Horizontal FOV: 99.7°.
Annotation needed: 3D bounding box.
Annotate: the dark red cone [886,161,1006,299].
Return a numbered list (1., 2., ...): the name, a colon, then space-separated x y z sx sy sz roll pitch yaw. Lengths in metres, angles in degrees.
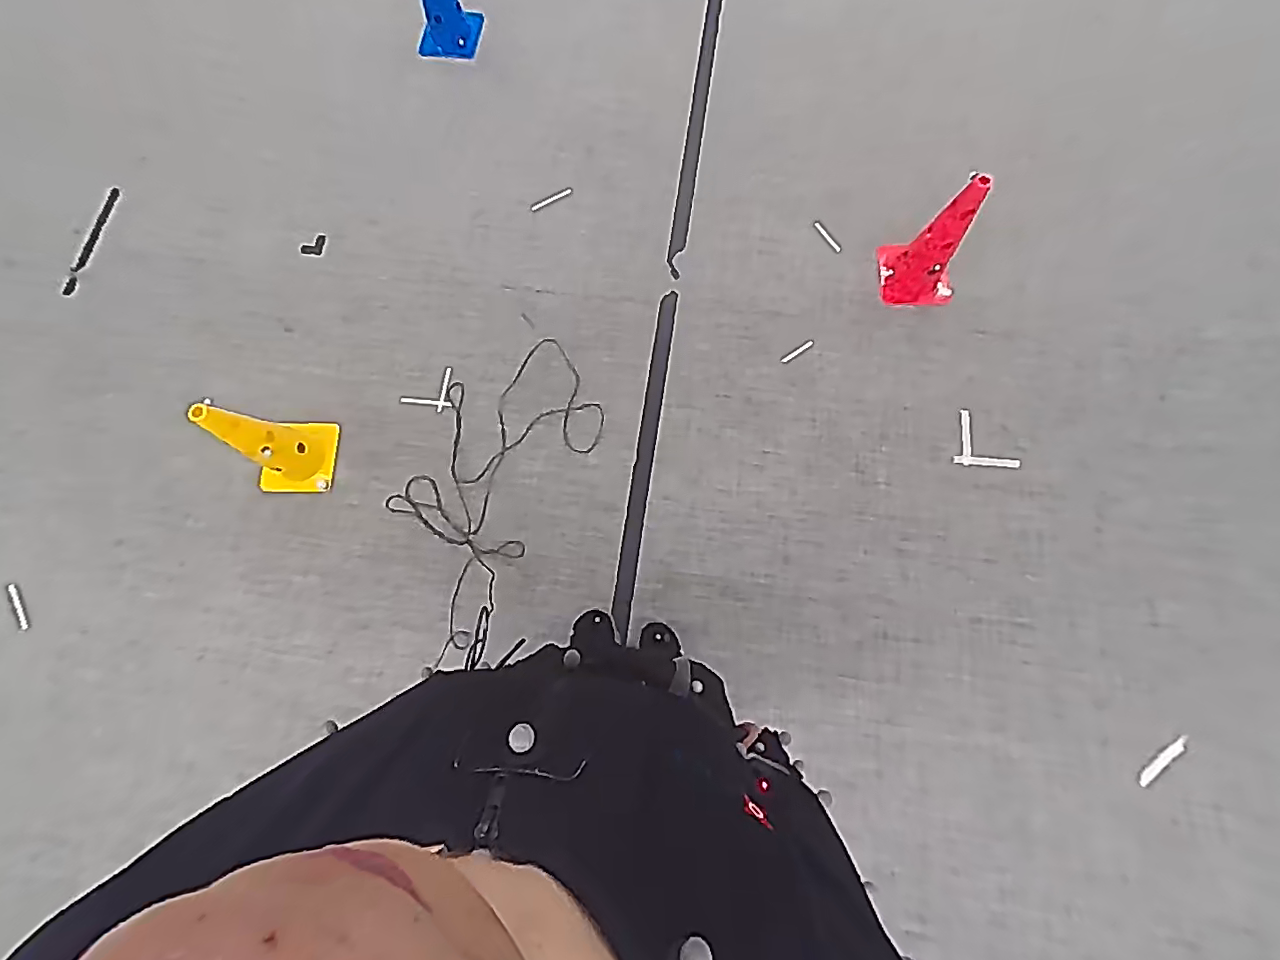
1. dark red cone: 0.799 -0.645 1.379 0.201 0.394 0.202 0 76 3

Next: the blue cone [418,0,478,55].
1. blue cone: -0.666 -1.570 1.692 0.192 0.380 0.193 8 76 5
